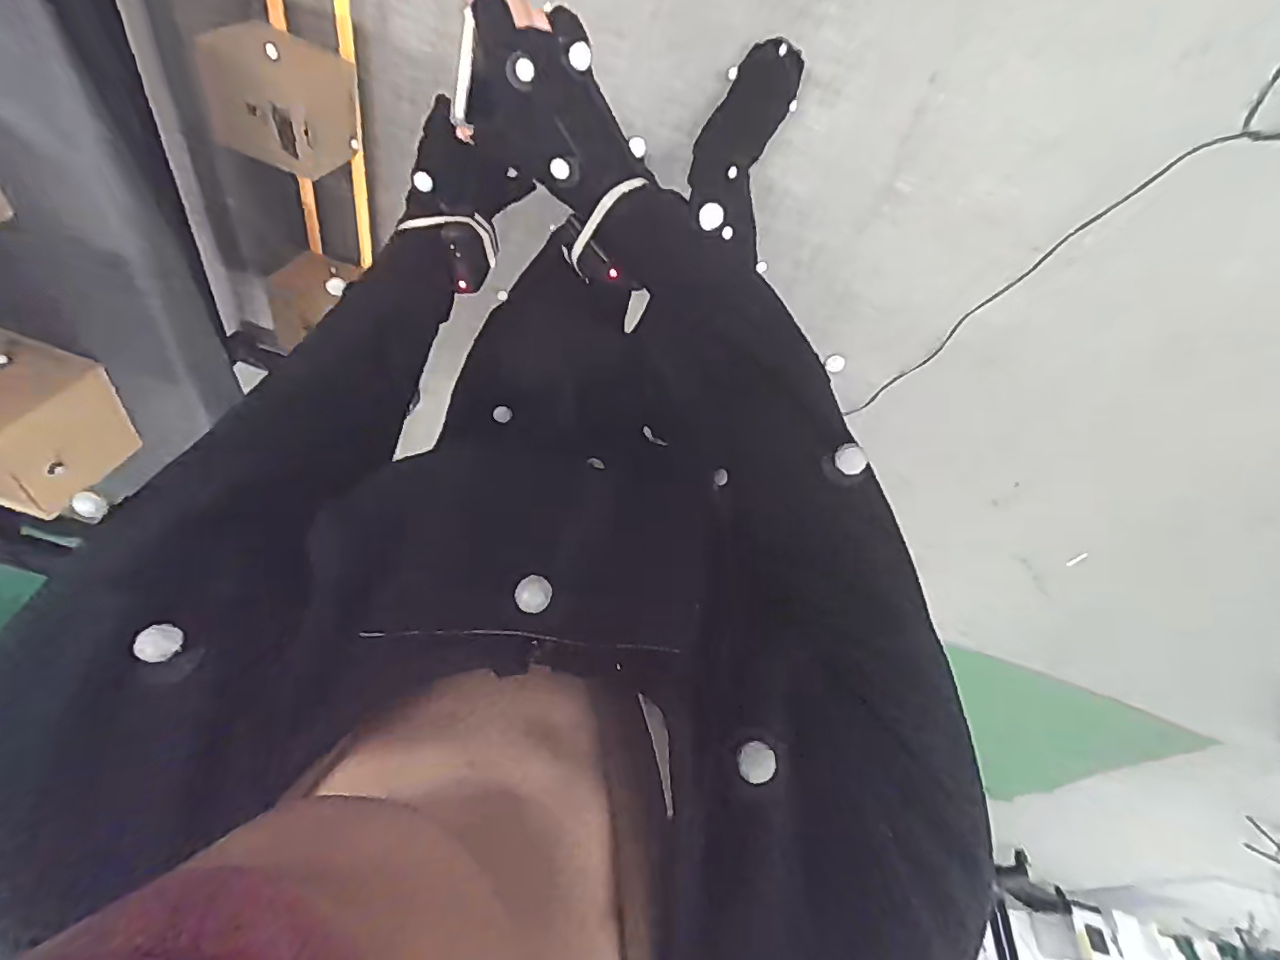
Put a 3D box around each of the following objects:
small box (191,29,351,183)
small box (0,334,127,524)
[{"bbox_3d":[-0.646,-0.679,0.978,0.179,0.176,0.168,21,135,-7],"label":"small box"},{"bbox_3d":[-0.876,-0.075,0.745,0.168,0.176,0.179,20,136,-7],"label":"small box"}]
